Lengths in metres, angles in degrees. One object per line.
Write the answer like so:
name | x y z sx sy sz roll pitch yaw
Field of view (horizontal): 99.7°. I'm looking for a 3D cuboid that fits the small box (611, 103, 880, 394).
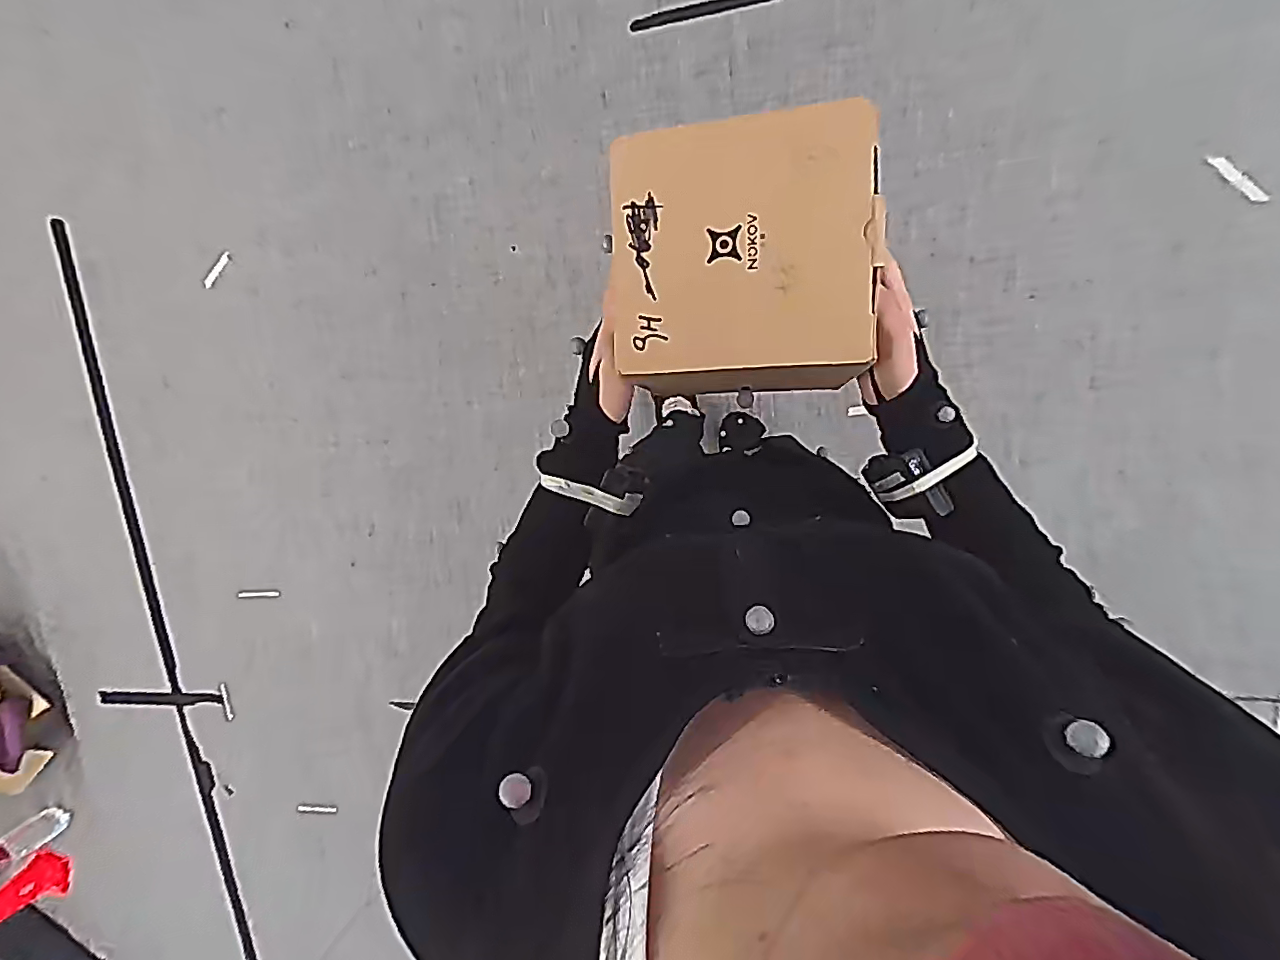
small box | 0.081 -0.161 0.438 0.179 0.176 0.168 0 93 12
